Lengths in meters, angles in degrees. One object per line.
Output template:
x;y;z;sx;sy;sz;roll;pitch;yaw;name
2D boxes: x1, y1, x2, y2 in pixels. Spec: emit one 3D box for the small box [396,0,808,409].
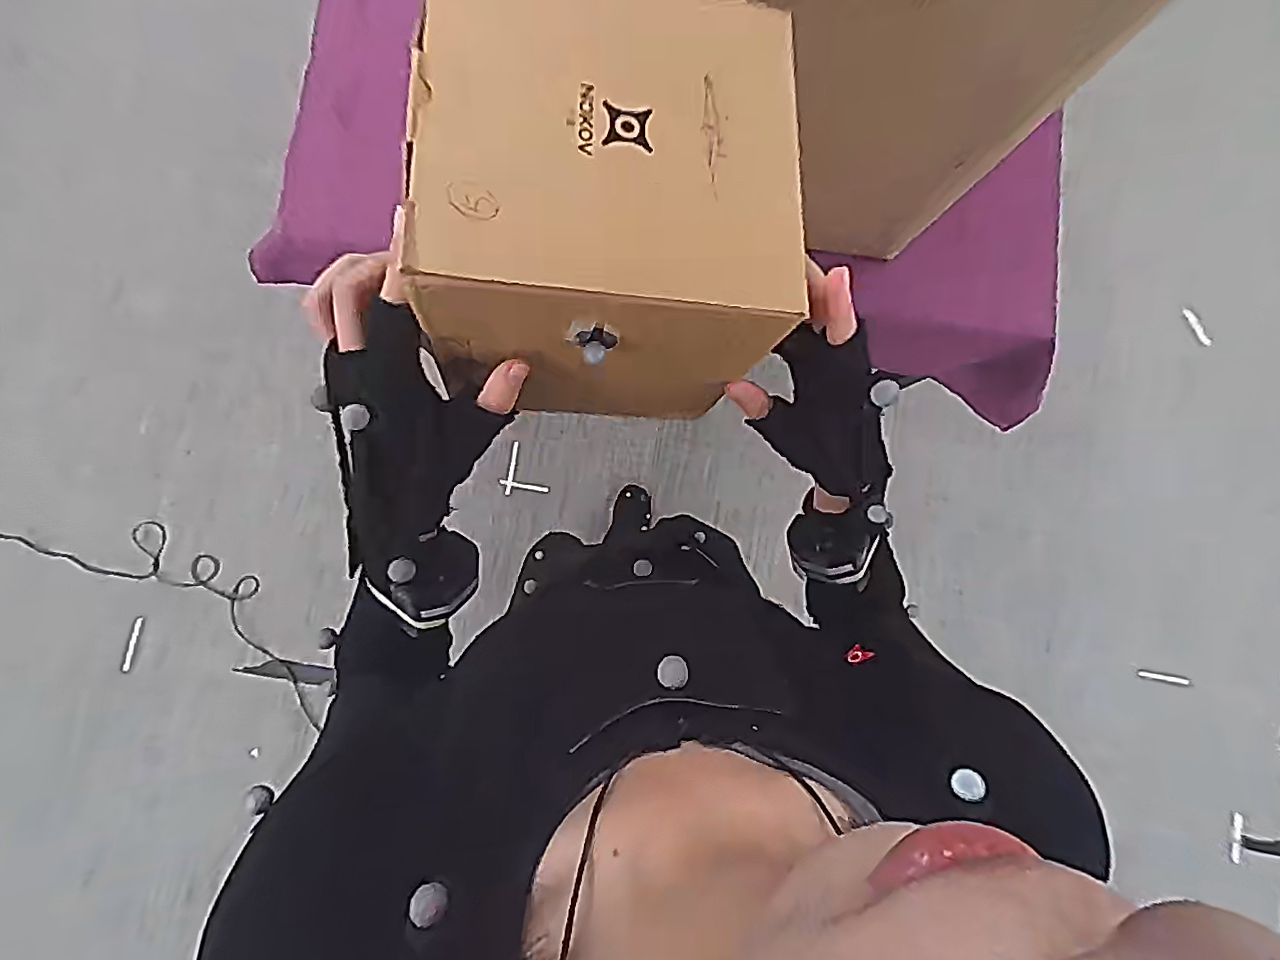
-0.026;-0.144;0.314;0.179;0.176;0.168;2;82;-12;small box
